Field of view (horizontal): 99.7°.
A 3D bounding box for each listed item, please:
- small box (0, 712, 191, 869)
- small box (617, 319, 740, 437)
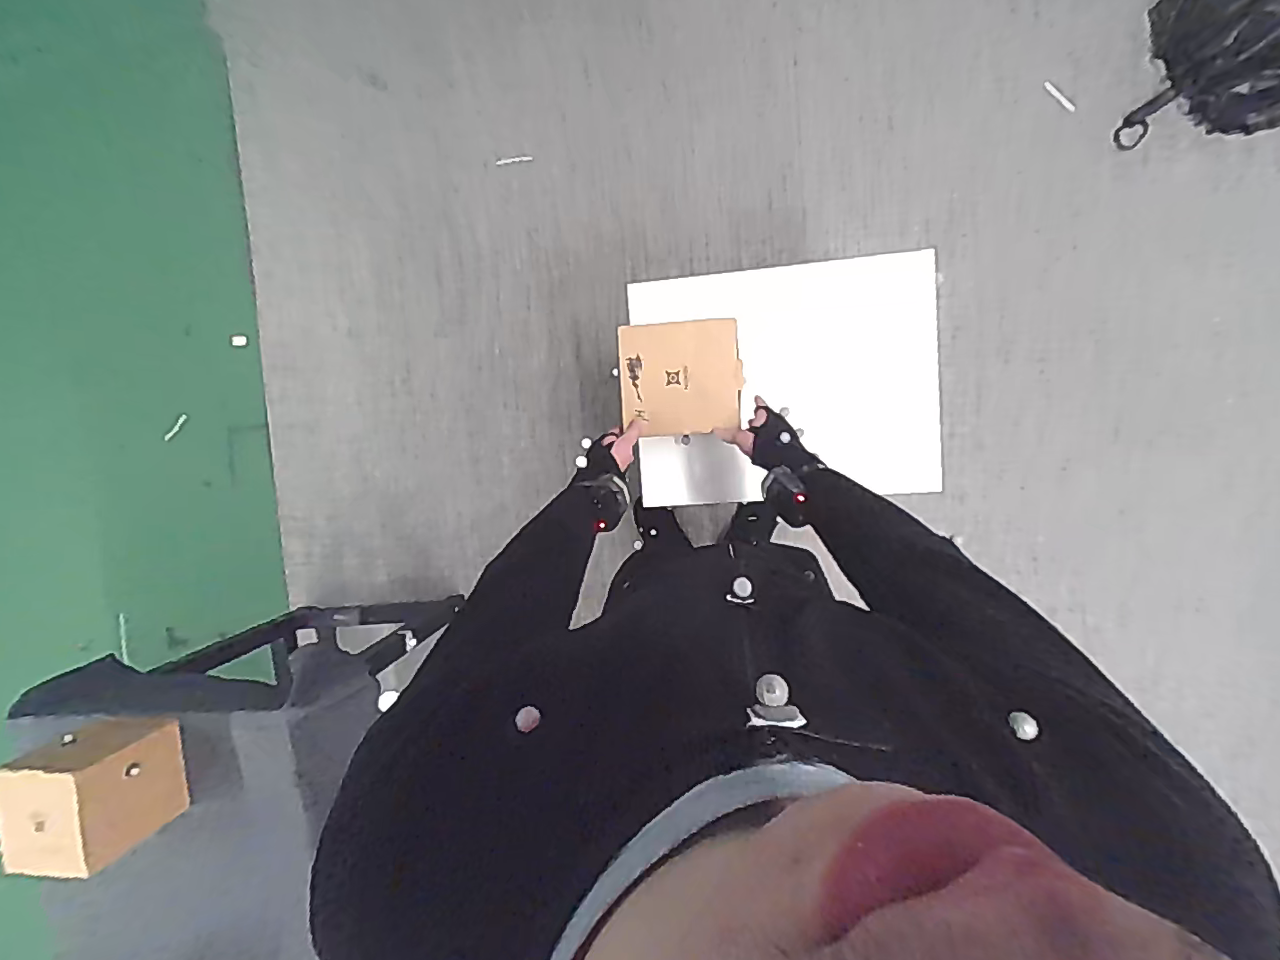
[{"bbox_3d":[-0.932,0.523,0.936,0.168,0.176,0.179,-2,96,10],"label":"small box"},{"bbox_3d":[0.063,-0.155,0.863,0.179,0.176,0.168,-2,95,7],"label":"small box"}]
